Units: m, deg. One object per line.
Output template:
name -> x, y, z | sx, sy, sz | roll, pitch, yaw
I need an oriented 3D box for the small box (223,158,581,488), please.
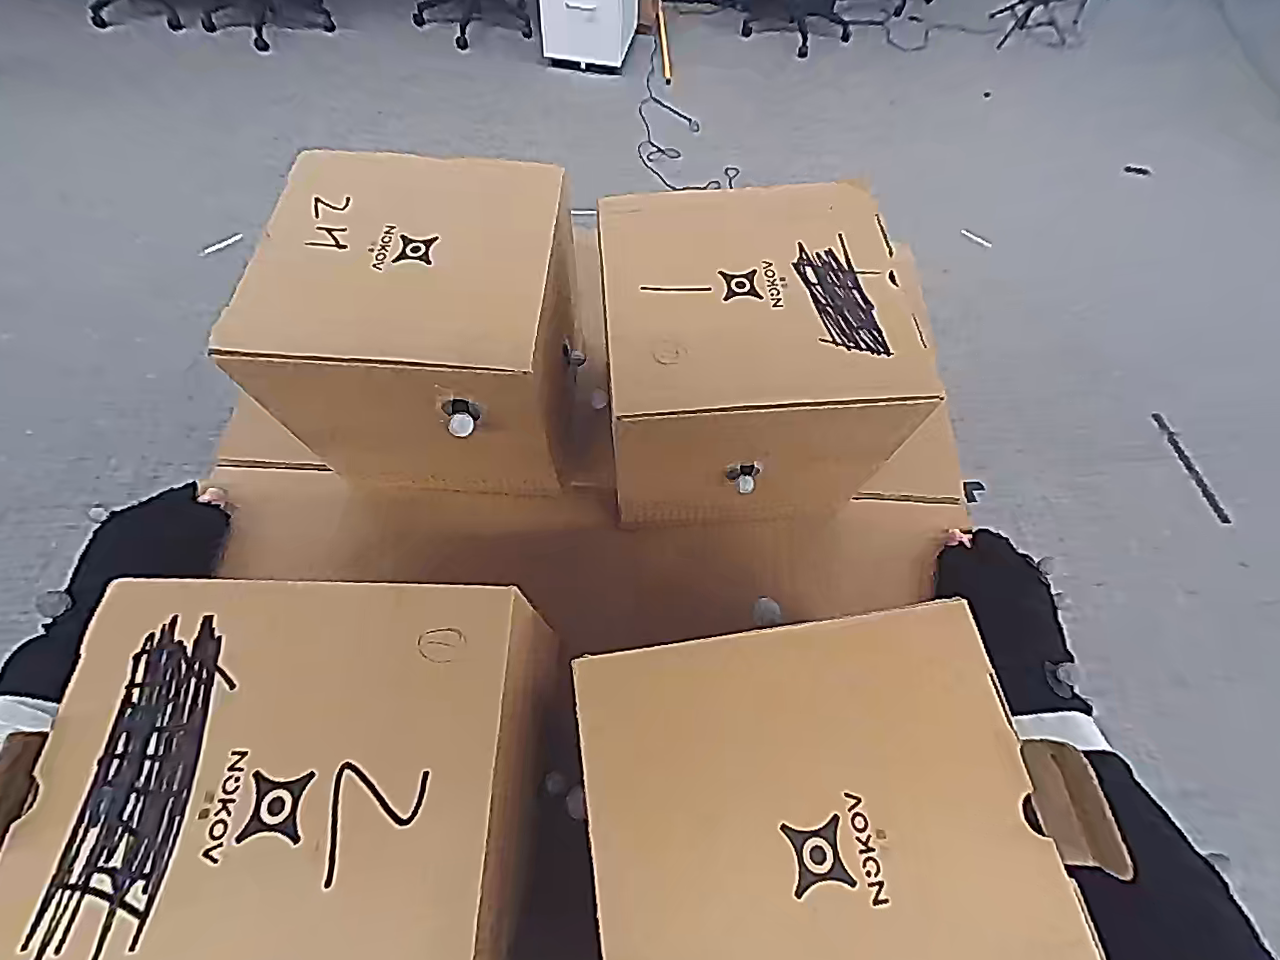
small box -> -0.142, -0.103, 0.405 | 0.179, 0.176, 0.168 | 4, 64, 1
